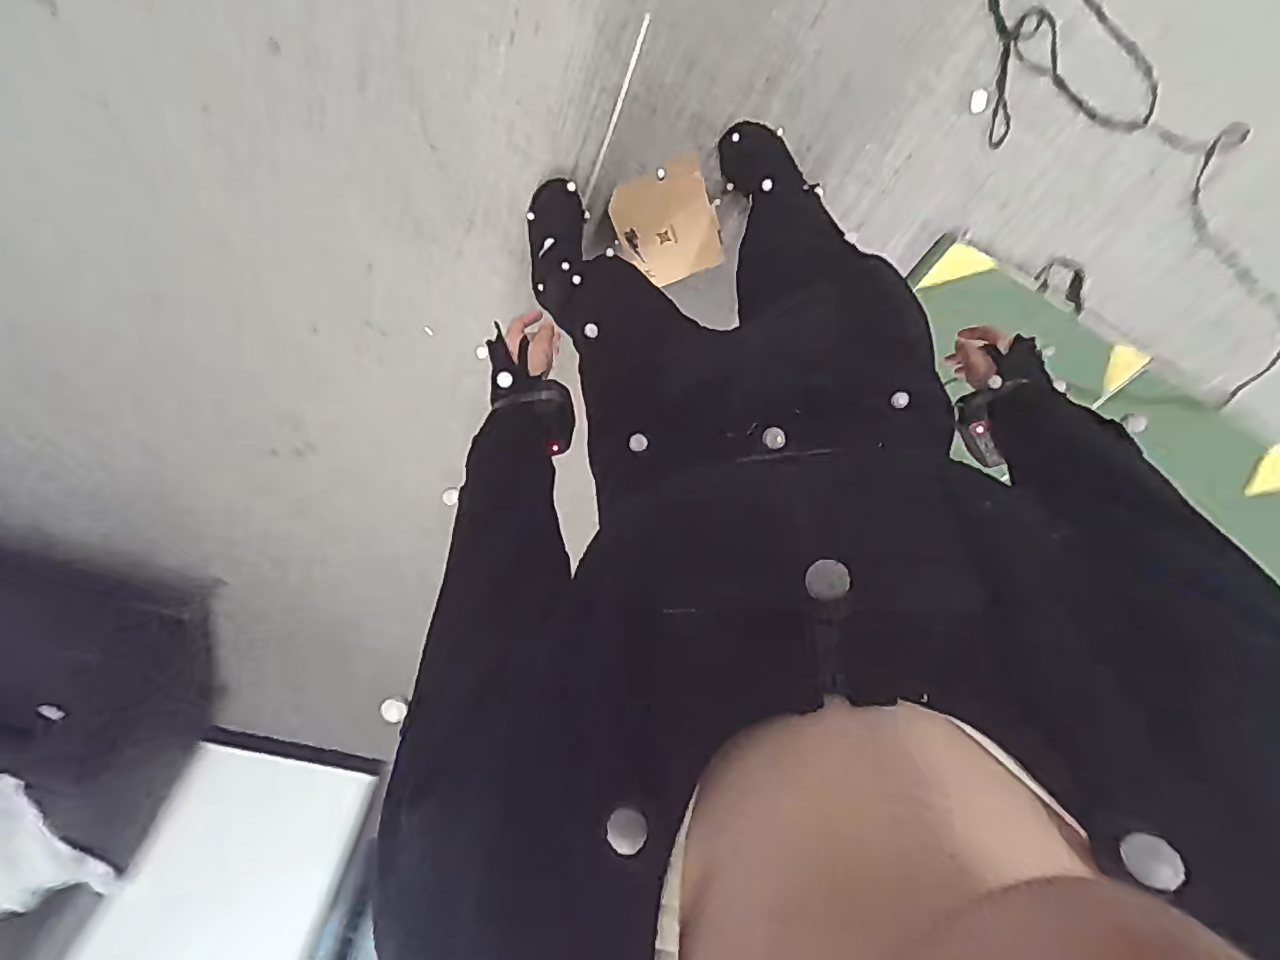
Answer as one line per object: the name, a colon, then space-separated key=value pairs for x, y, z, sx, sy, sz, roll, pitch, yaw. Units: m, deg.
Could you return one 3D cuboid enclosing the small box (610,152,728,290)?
small box: x=0.054 y=-0.499 z=1.035 sx=0.179 sy=0.176 sz=0.168 roll=-16 pitch=128 yaw=15
